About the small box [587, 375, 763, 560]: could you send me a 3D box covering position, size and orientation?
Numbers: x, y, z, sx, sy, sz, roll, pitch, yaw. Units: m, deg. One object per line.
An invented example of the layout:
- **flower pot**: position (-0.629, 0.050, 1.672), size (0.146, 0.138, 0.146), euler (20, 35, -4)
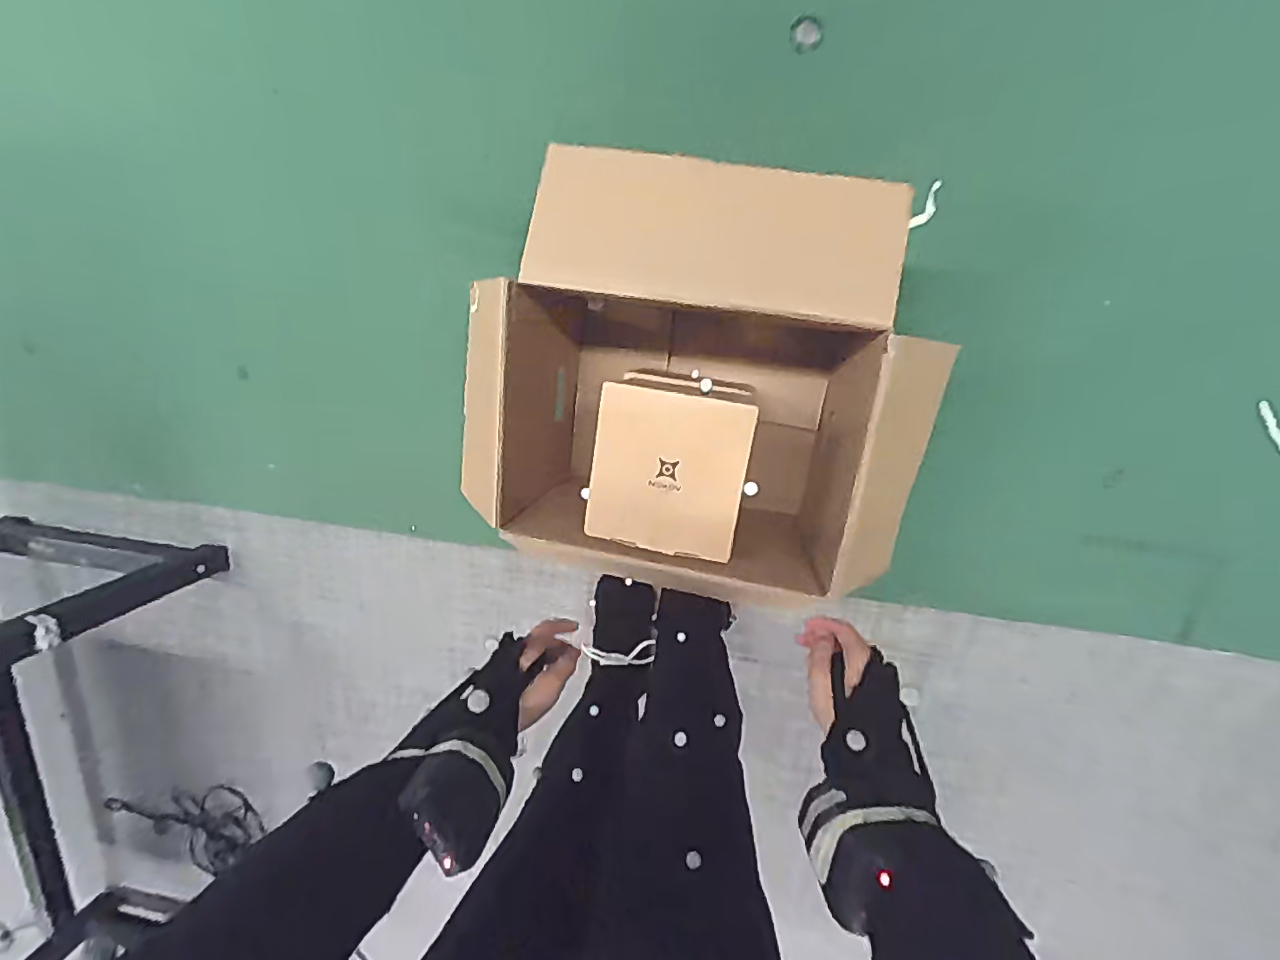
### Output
- **small box**: position (0.044, -0.028, 0.653), size (0.168, 0.176, 0.179), euler (10, 105, 7)
